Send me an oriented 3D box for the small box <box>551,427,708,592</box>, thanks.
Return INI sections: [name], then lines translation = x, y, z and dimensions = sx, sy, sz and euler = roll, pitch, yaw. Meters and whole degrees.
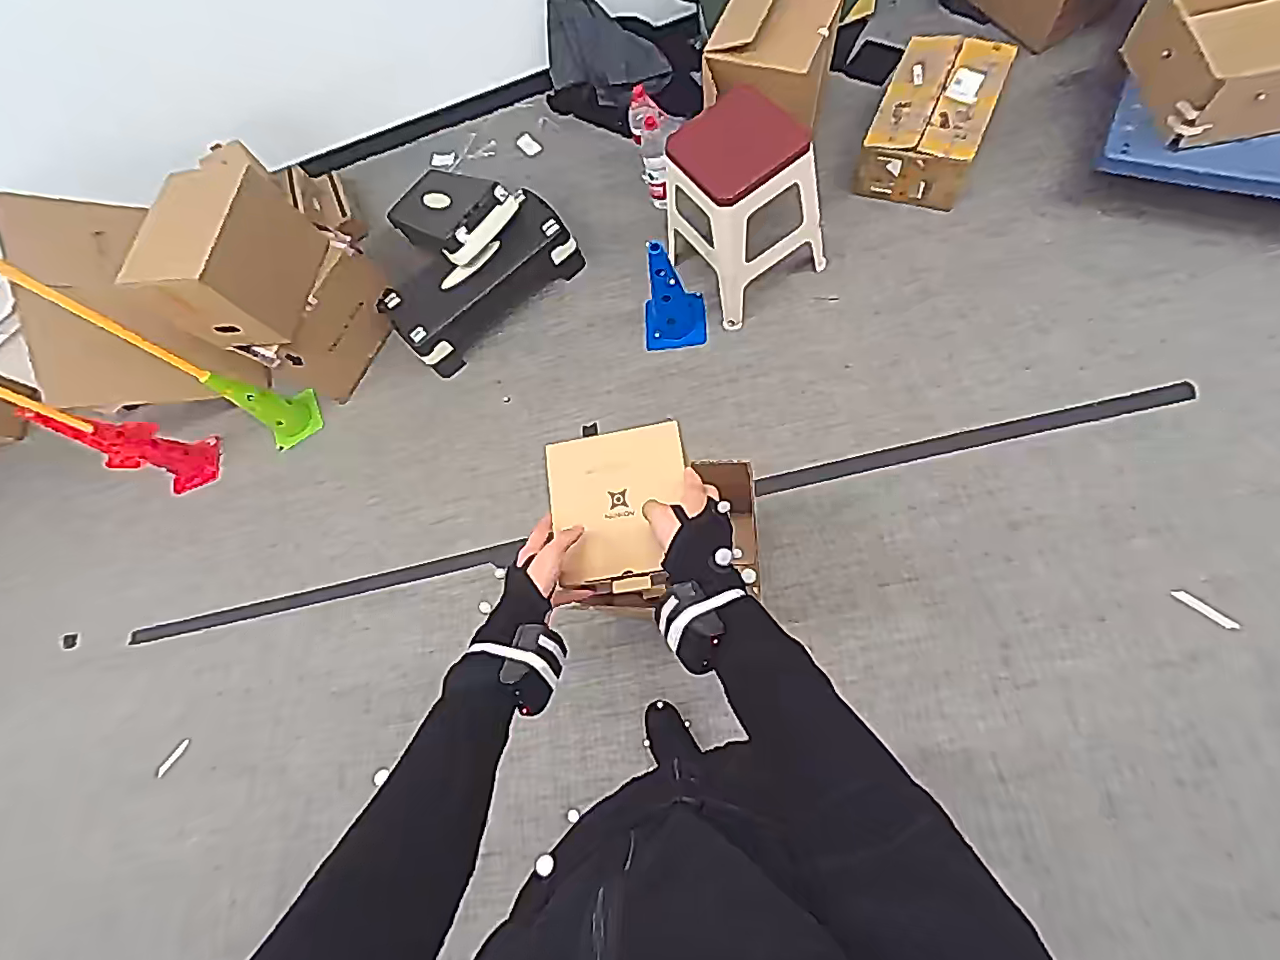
[small box]
translation = -0.006, 0.050, 0.707
dimensions = 0.168, 0.176, 0.179
euler = -9, 74, 8
